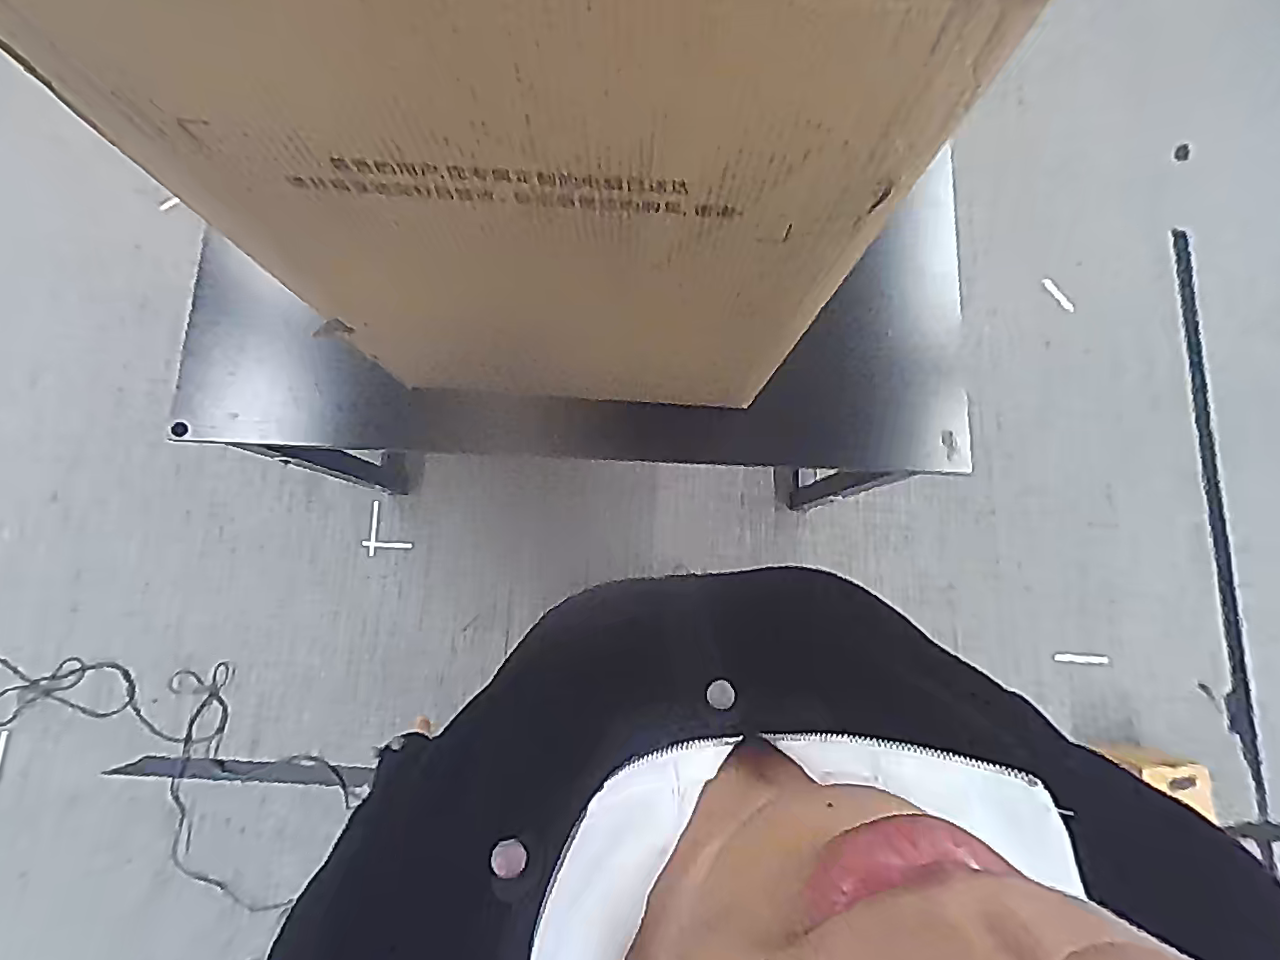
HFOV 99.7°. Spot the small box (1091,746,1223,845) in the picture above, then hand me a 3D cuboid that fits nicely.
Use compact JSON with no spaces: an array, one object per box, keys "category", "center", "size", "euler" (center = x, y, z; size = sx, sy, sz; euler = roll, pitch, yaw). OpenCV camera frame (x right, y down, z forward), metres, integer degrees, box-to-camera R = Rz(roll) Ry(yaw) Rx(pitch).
[{"category":"small box","center":[1.291,0.785,1.365],"size":[0.168,0.176,0.179],"euler":[-1,82,-1]}]
